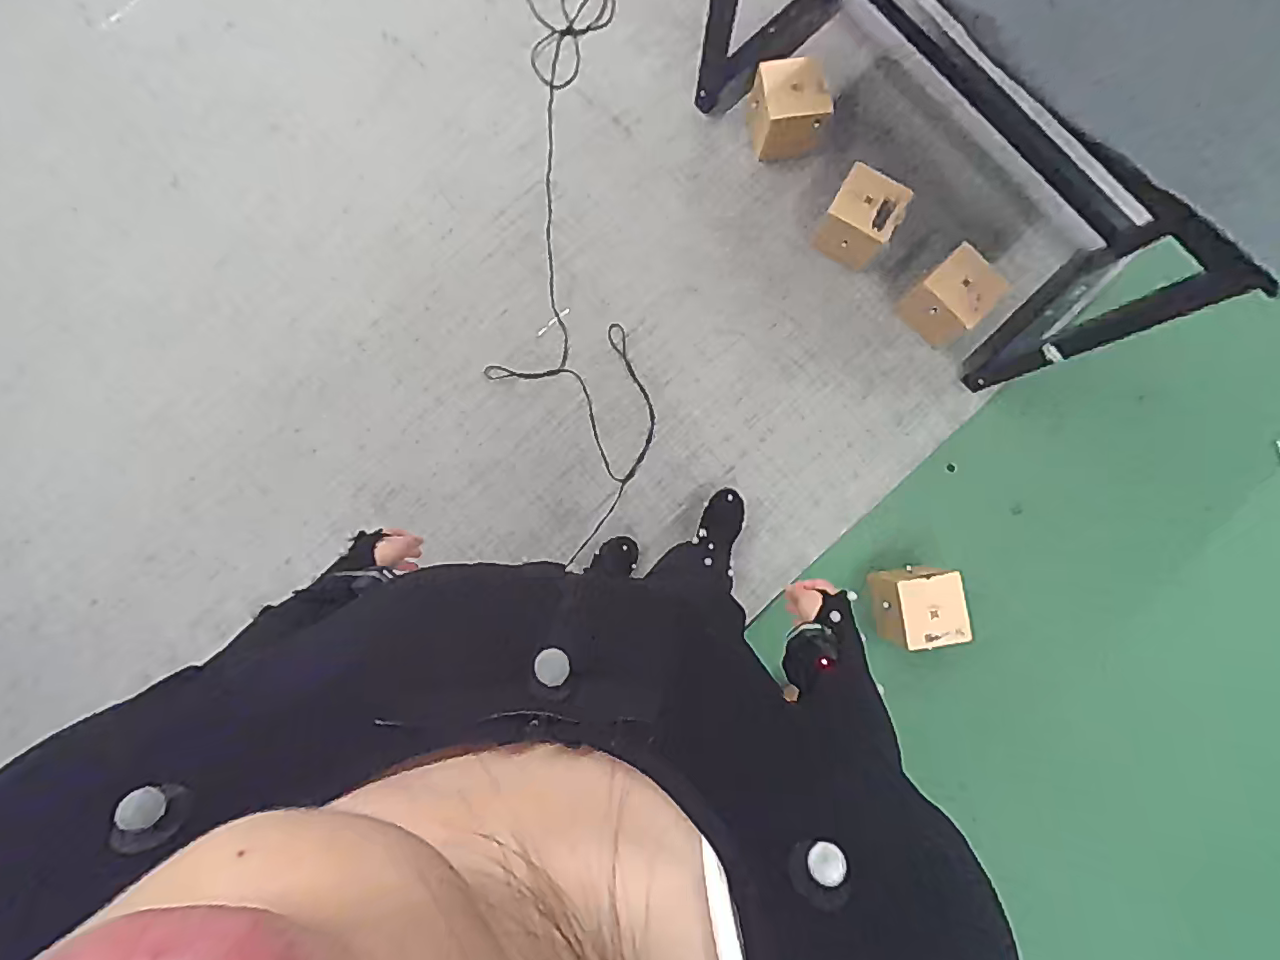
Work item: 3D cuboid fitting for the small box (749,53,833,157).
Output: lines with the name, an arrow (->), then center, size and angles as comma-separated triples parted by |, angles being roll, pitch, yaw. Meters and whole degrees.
small box -> 0.408, -1.030, 1.499 | 0.179, 0.176, 0.168 | -9, 86, -2

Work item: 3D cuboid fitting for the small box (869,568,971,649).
small box -> 0.720, 0.327, 1.411 | 0.168, 0.176, 0.179 | -8, 86, -2

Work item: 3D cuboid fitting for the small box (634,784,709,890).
small box -> 0.074, 0.887, 1.357 | 0.179, 0.176, 0.168 | -1, 86, 0

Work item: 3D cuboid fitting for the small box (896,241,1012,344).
small box -> 0.840, -0.498, 1.468 | 0.168, 0.176, 0.179 | -44, 89, -3
